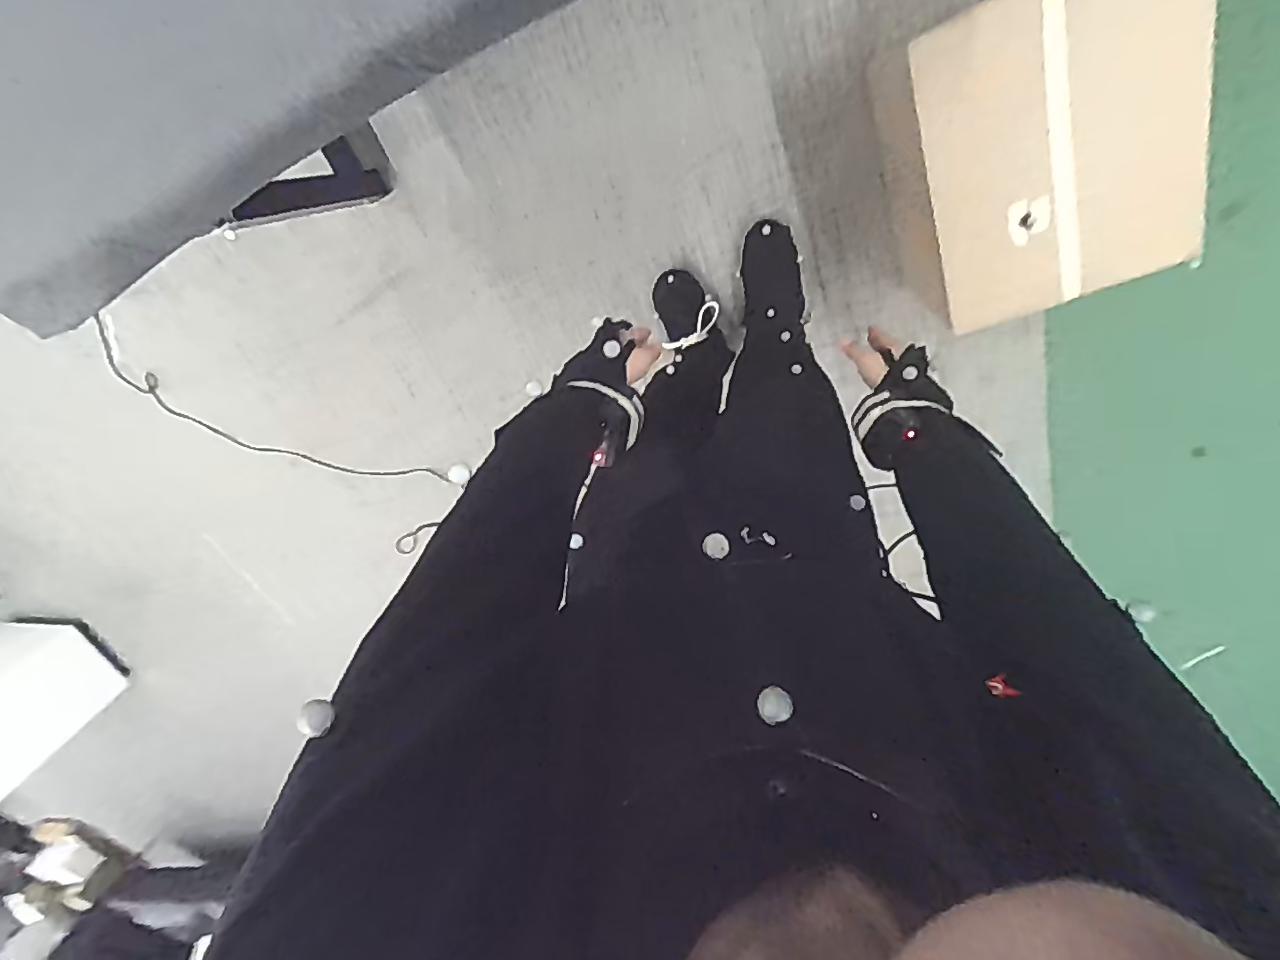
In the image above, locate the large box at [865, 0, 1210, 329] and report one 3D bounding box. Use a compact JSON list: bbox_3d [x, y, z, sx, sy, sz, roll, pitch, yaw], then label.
[{"bbox_3d":[0.577,-0.514,0.835,0.320,0.320,0.408,-17,118,21],"label":"large box"}]
